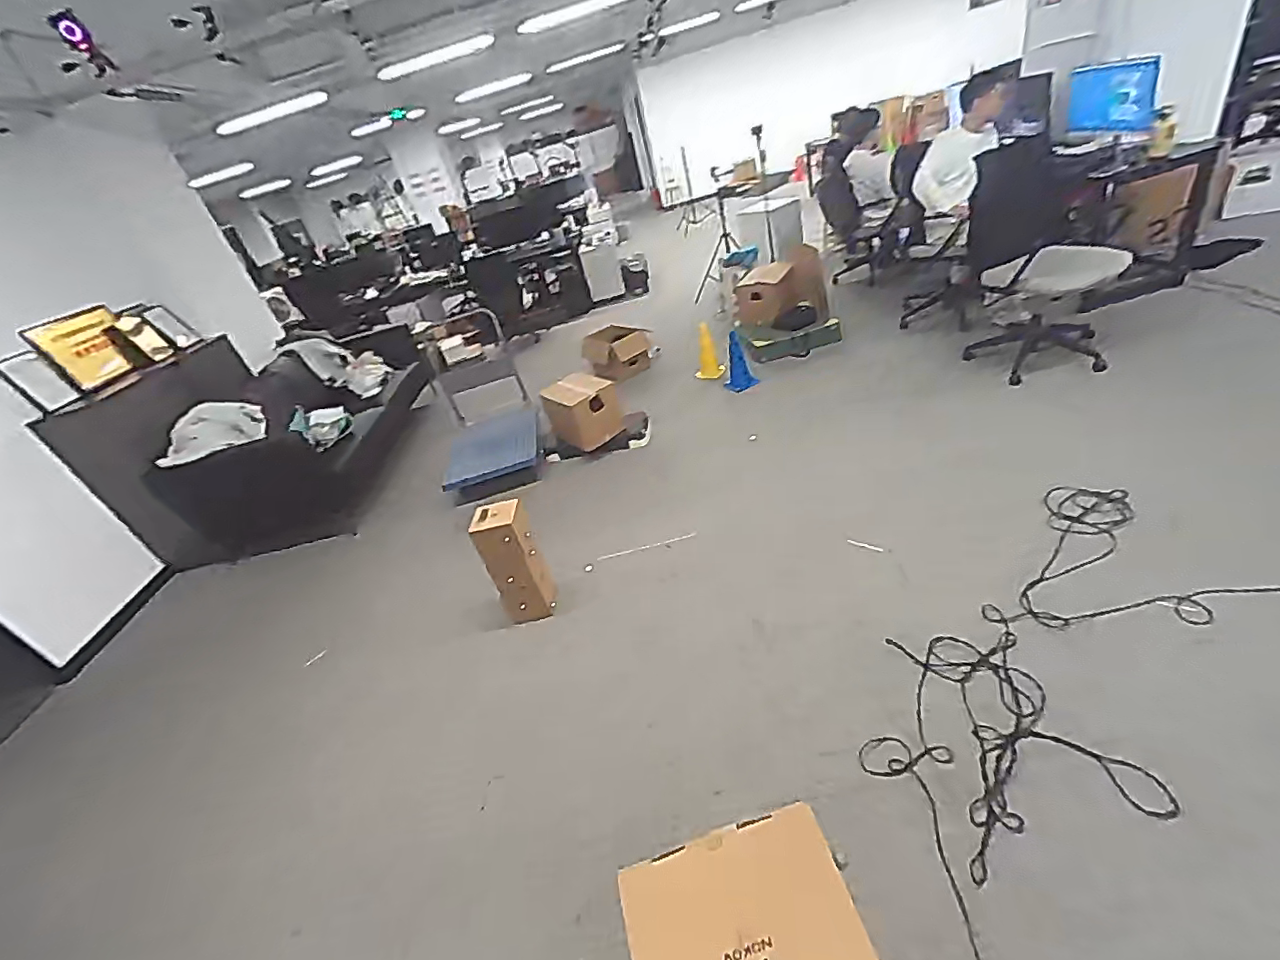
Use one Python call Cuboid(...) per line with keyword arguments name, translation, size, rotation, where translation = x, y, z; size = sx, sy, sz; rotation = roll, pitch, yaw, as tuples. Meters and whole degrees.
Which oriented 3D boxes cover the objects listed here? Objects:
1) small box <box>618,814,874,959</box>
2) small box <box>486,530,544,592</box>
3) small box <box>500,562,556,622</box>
Cuboid(name="small box", translation=(0.096, 0.401, 0.415), size=(0.168, 0.176, 0.179), rotation=(-18, 40, -3))
Cuboid(name="small box", translation=(-0.501, 0.336, 2.192), size=(0.168, 0.176, 0.179), rotation=(-13, 32, 6))
Cuboid(name="small box", translation=(-0.465, 0.472, 2.277), size=(0.179, 0.176, 0.168), rotation=(-14, 32, 7))
